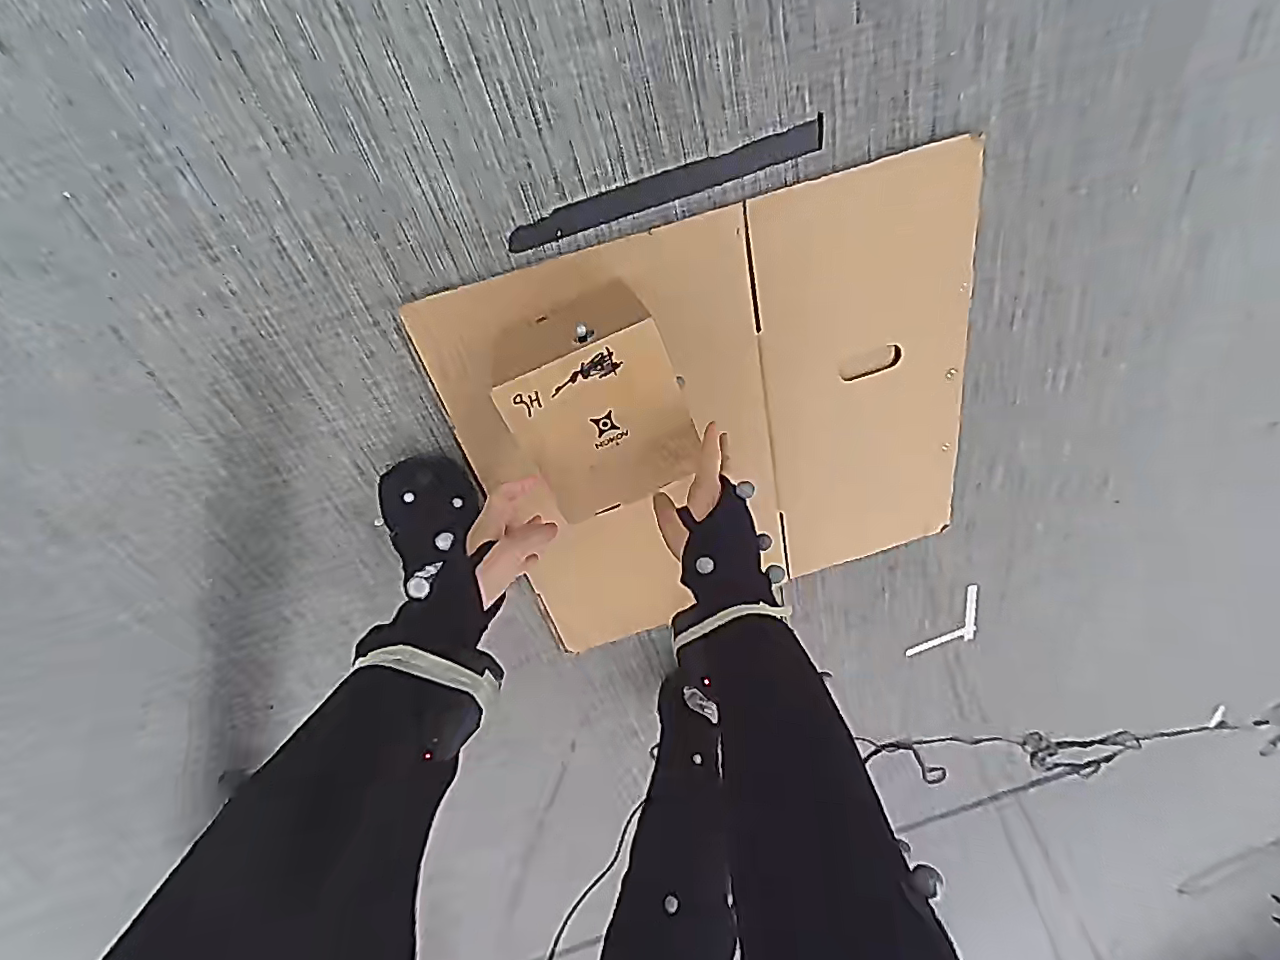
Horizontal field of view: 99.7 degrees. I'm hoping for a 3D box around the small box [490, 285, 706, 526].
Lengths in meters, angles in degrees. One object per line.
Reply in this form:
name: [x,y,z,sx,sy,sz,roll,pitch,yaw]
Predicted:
small box: [-0.047,-0.087,0.596,0.168,0.176,0.179,-24,124,2]
